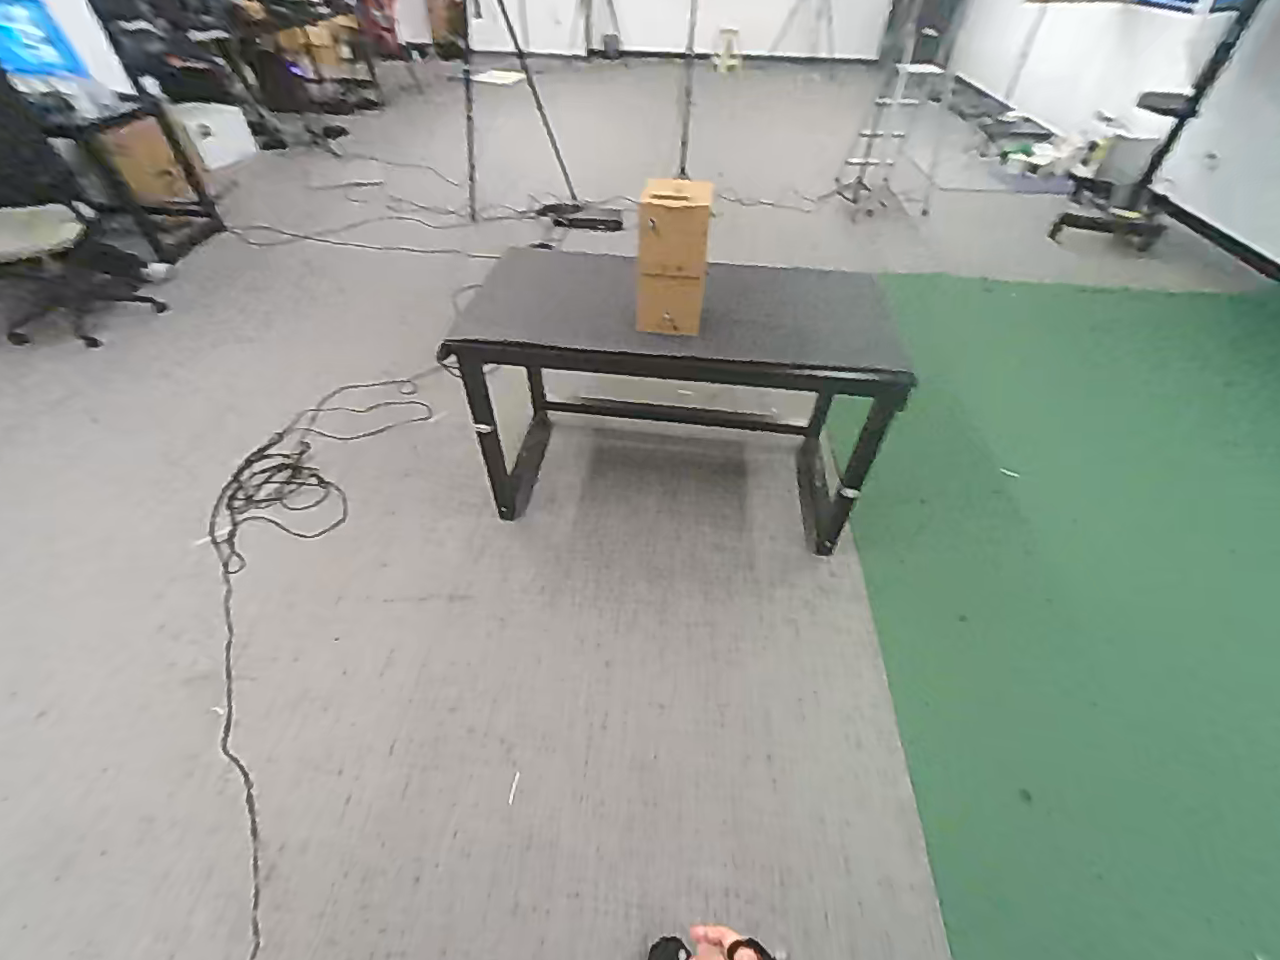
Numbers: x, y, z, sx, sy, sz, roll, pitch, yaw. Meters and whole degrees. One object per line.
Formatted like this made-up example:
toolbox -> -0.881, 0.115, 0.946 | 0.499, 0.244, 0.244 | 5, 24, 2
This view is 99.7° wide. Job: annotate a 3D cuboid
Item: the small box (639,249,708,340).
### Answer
small box -> 0.088, -0.501, 1.459 | 0.168, 0.176, 0.179 | 6, 45, 5
